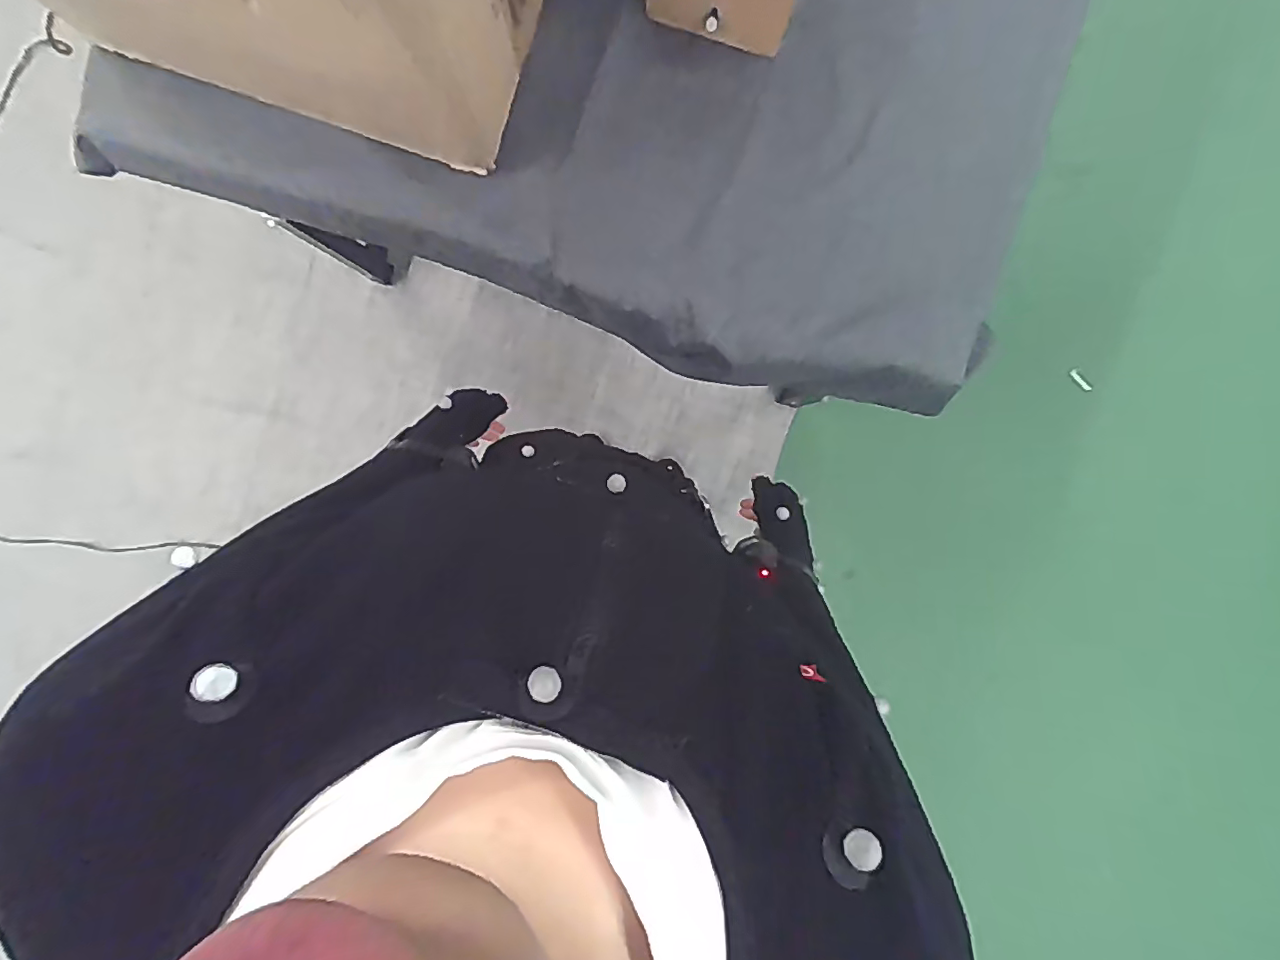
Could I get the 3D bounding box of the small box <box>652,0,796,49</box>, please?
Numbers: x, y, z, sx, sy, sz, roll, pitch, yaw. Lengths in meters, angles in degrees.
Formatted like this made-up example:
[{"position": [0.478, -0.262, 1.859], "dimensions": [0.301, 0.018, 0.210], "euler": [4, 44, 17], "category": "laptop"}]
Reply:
[{"position": [0.118, -0.643, 0.612], "dimensions": [0.179, 0.176, 0.168], "euler": [17, 94, -1], "category": "small box"}]
